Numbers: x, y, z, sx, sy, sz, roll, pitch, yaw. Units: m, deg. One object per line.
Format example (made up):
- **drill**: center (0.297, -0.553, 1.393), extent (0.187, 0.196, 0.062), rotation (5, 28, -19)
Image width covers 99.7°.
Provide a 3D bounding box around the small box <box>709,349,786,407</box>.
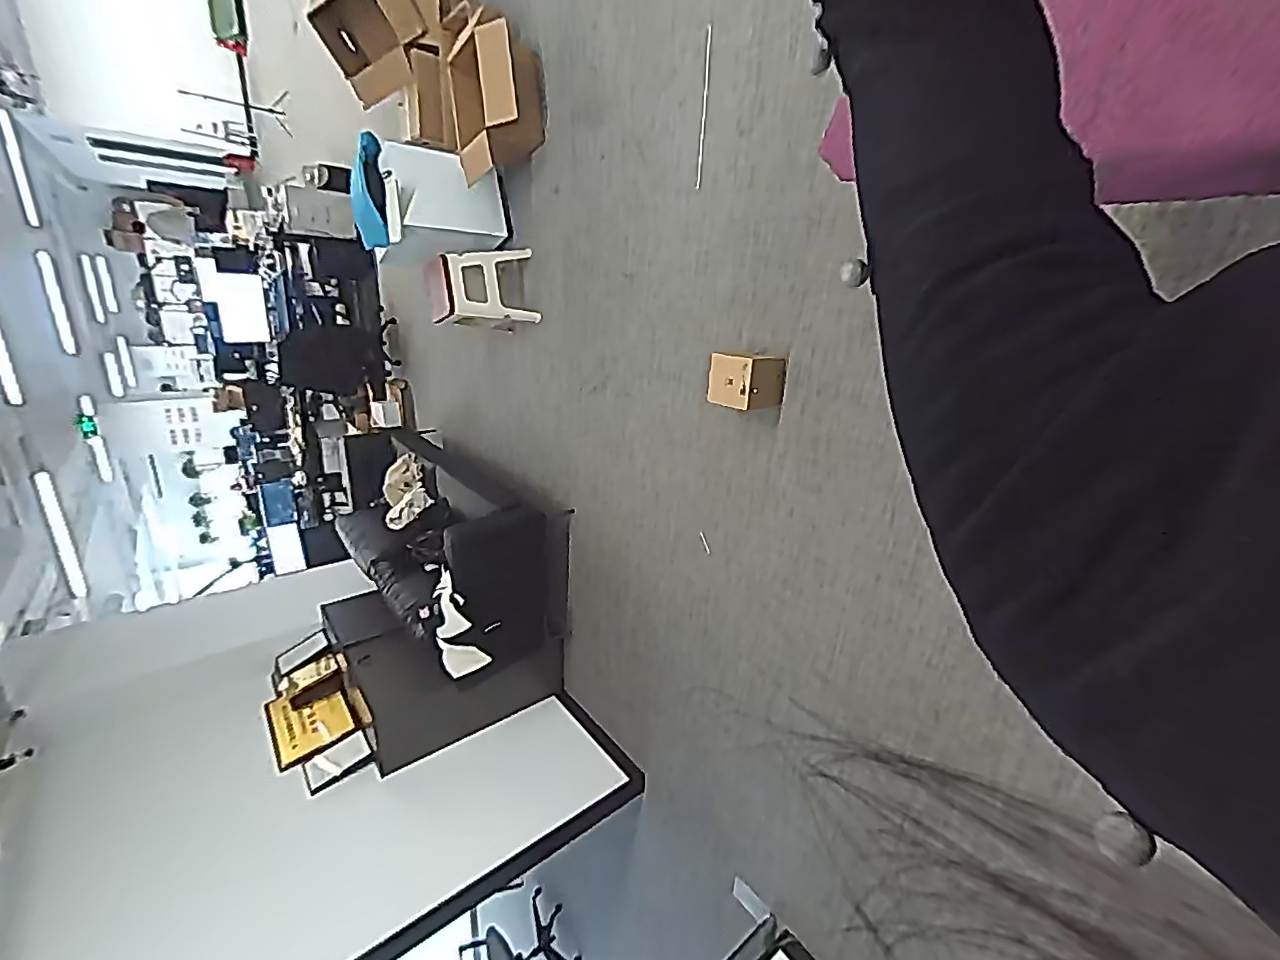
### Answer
- **small box**: center (0.358, -0.343, 1.804), extent (0.179, 0.176, 0.168), rotation (25, 119, 46)
